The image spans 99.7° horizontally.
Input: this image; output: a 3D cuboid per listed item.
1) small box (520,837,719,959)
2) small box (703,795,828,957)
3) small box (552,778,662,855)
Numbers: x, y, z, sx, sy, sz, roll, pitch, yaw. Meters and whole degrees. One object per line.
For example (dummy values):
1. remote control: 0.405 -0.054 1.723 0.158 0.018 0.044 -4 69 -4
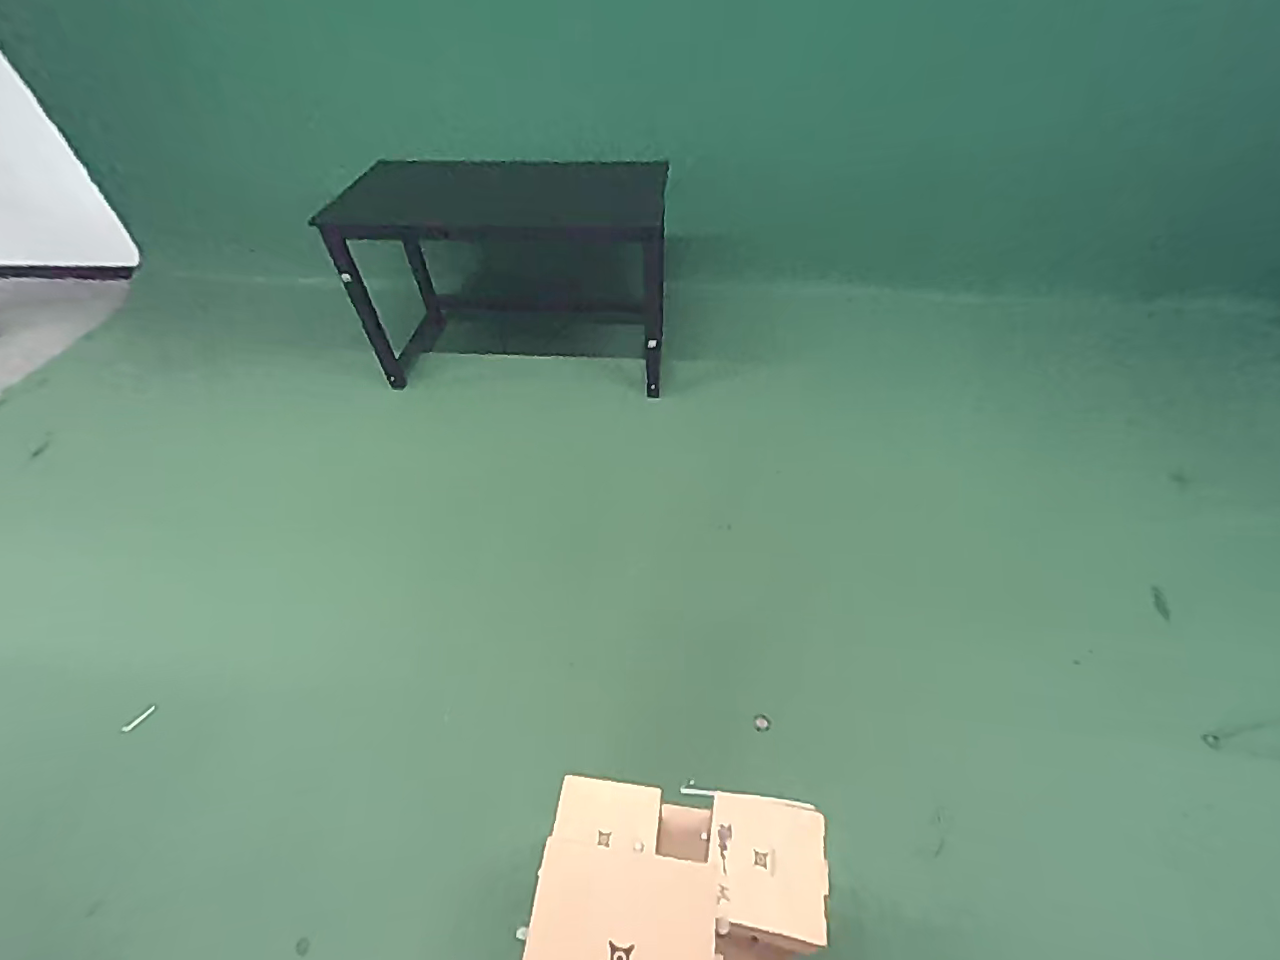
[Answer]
1. small box: -0.022 0.462 0.509 0.168 0.176 0.179 6 51 5
2. small box: 0.190 0.630 0.858 0.179 0.176 0.168 7 47 10
3. small box: -0.057 0.618 0.884 0.168 0.176 0.179 5 47 6
